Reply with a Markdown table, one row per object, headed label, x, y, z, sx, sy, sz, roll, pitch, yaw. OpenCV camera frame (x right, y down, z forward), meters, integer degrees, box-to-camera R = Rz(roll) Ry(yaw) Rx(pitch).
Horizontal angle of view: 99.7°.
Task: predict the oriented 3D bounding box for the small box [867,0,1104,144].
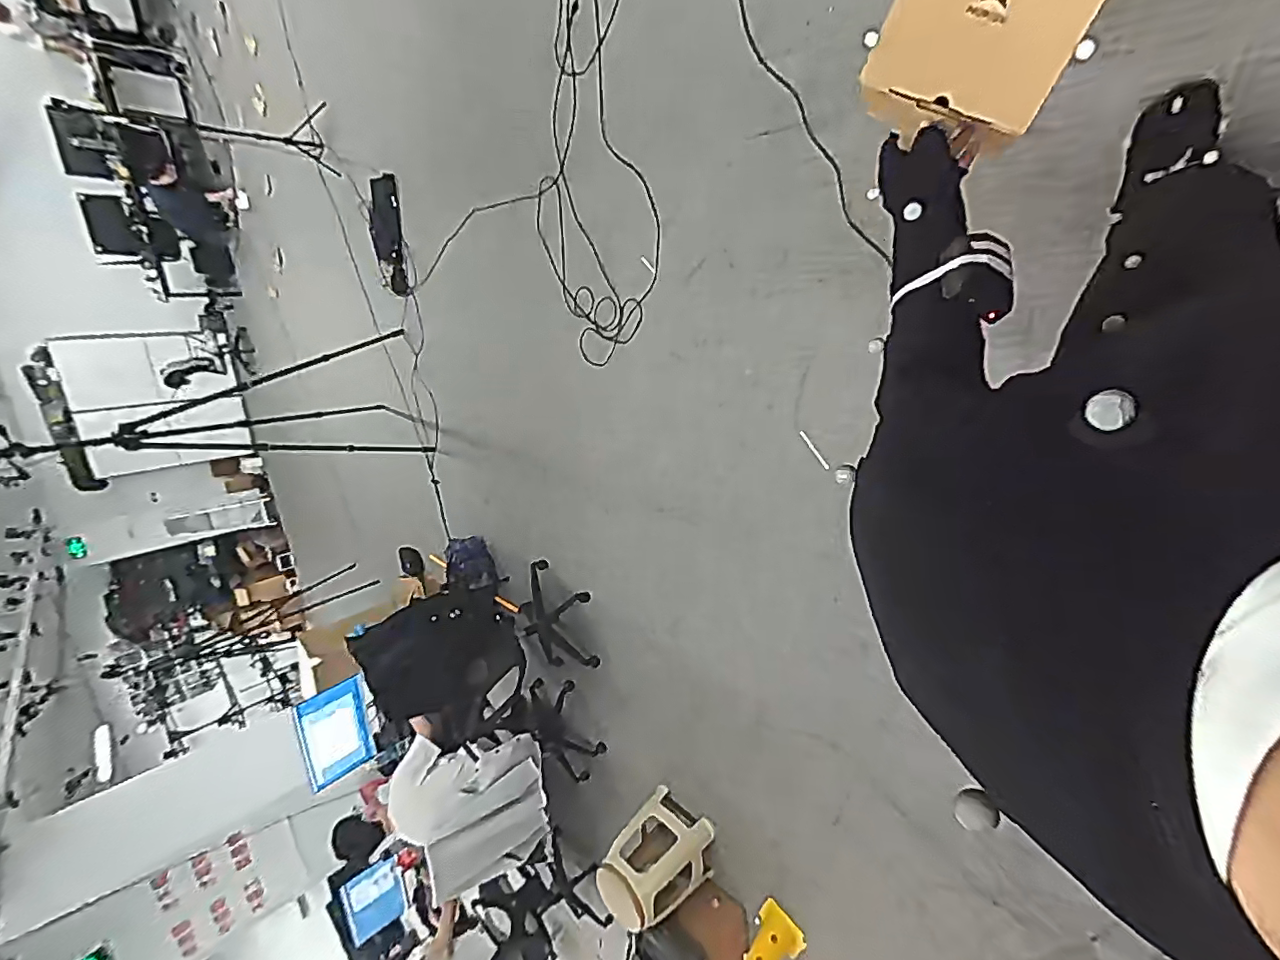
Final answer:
| label | x | y | z | sx | sy | sz | roll | pitch | yaw |
| --- | --- | --- | --- | --- | --- | --- | --- | --- | --- |
| small box | 0.351 | -0.468 | 0.547 | 0.168 | 0.176 | 0.179 | 27 | 124 | 11 |
